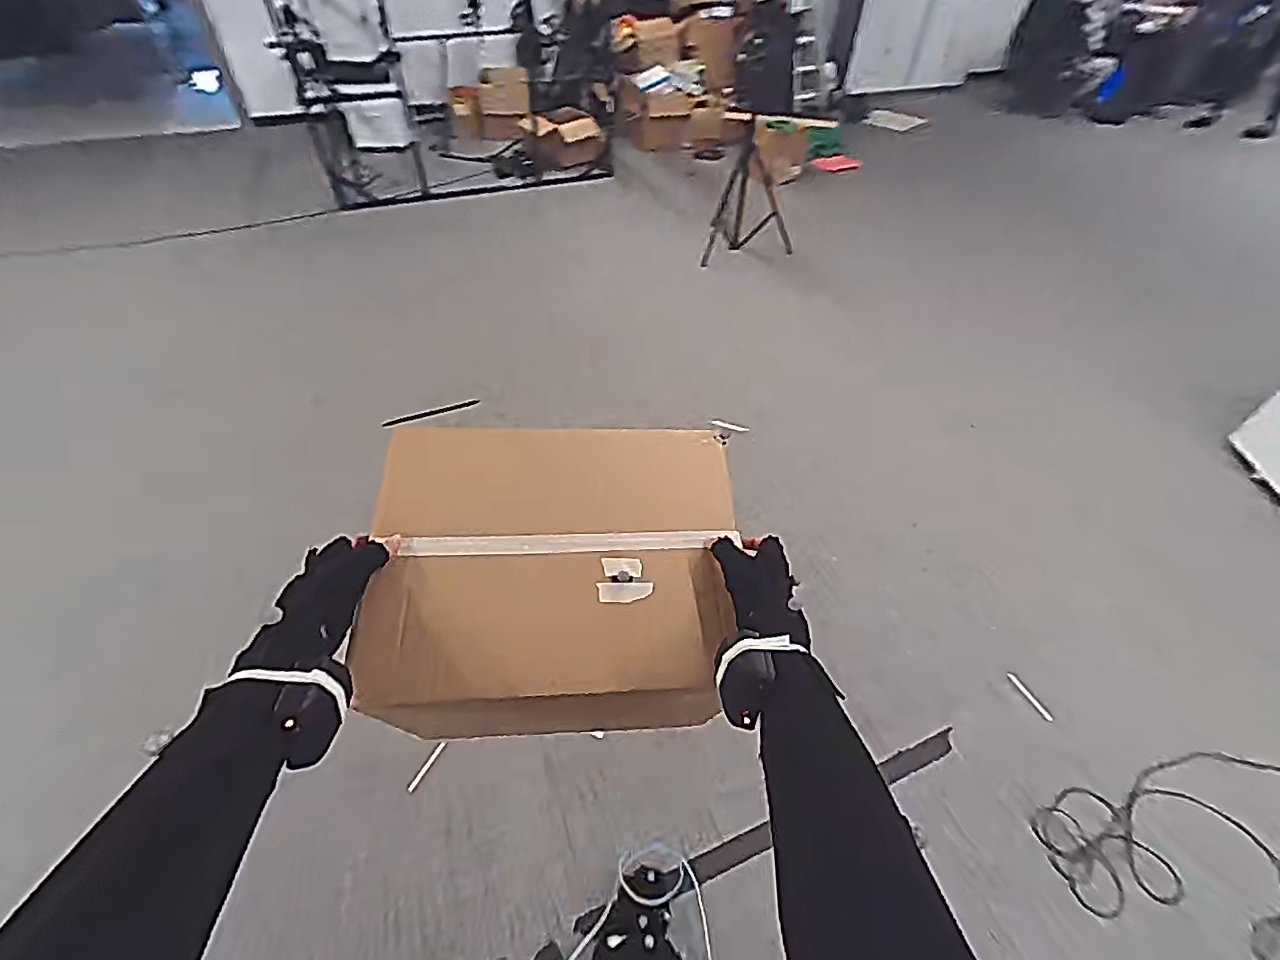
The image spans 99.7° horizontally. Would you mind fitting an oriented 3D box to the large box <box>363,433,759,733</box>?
[{"bbox_3d":[-0.097,0.149,0.741,0.408,0.320,0.320,0,59,-7],"label":"large box"}]
